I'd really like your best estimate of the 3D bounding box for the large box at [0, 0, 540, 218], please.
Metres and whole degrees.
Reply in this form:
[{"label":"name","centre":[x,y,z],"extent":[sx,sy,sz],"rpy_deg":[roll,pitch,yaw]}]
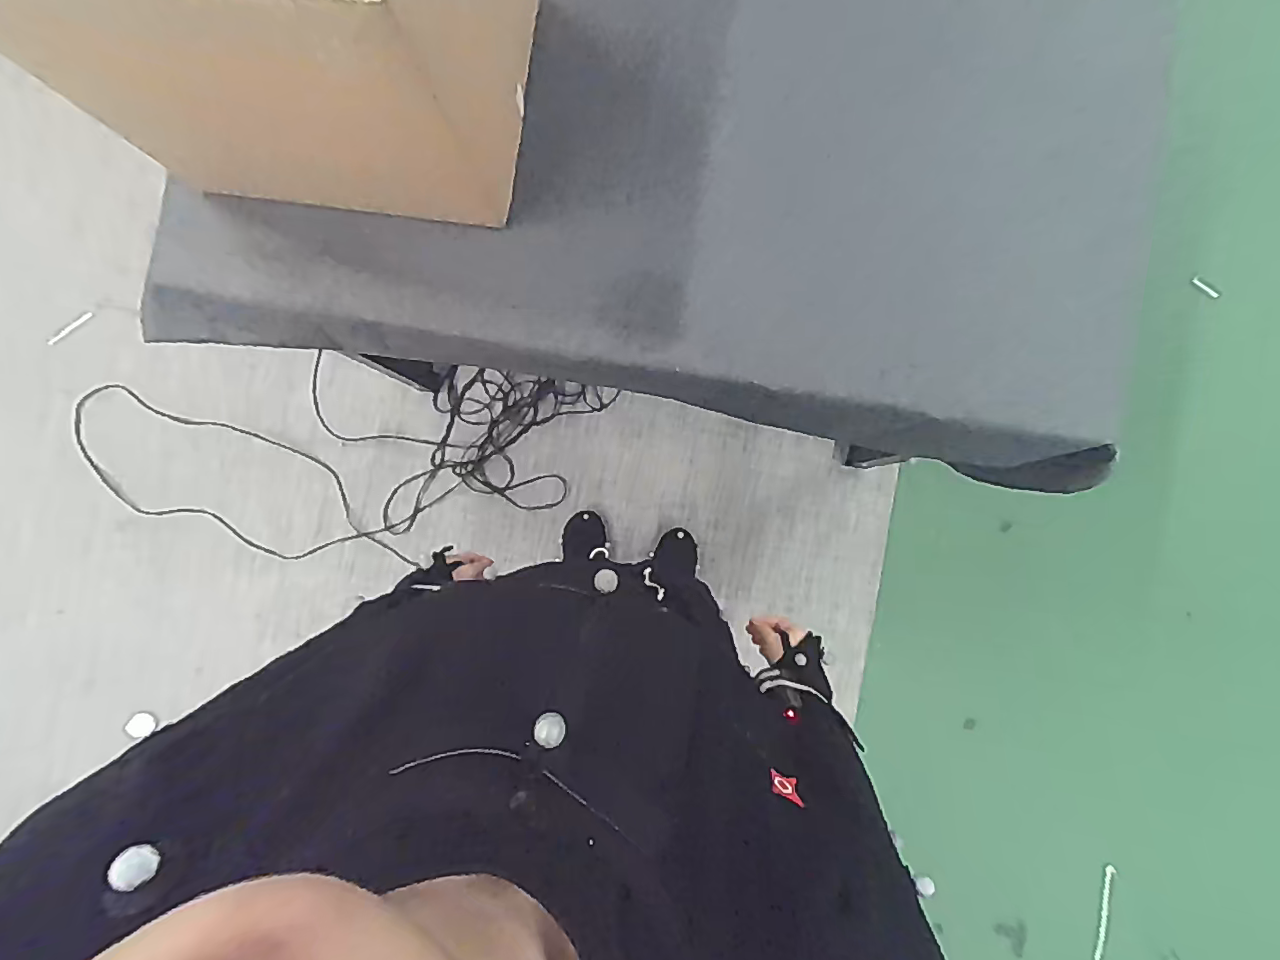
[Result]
[{"label":"large box","centre":[-0.341,-0.502,0.537],"extent":[0.408,0.320,0.320],"rpy_deg":[7,88,0]}]
